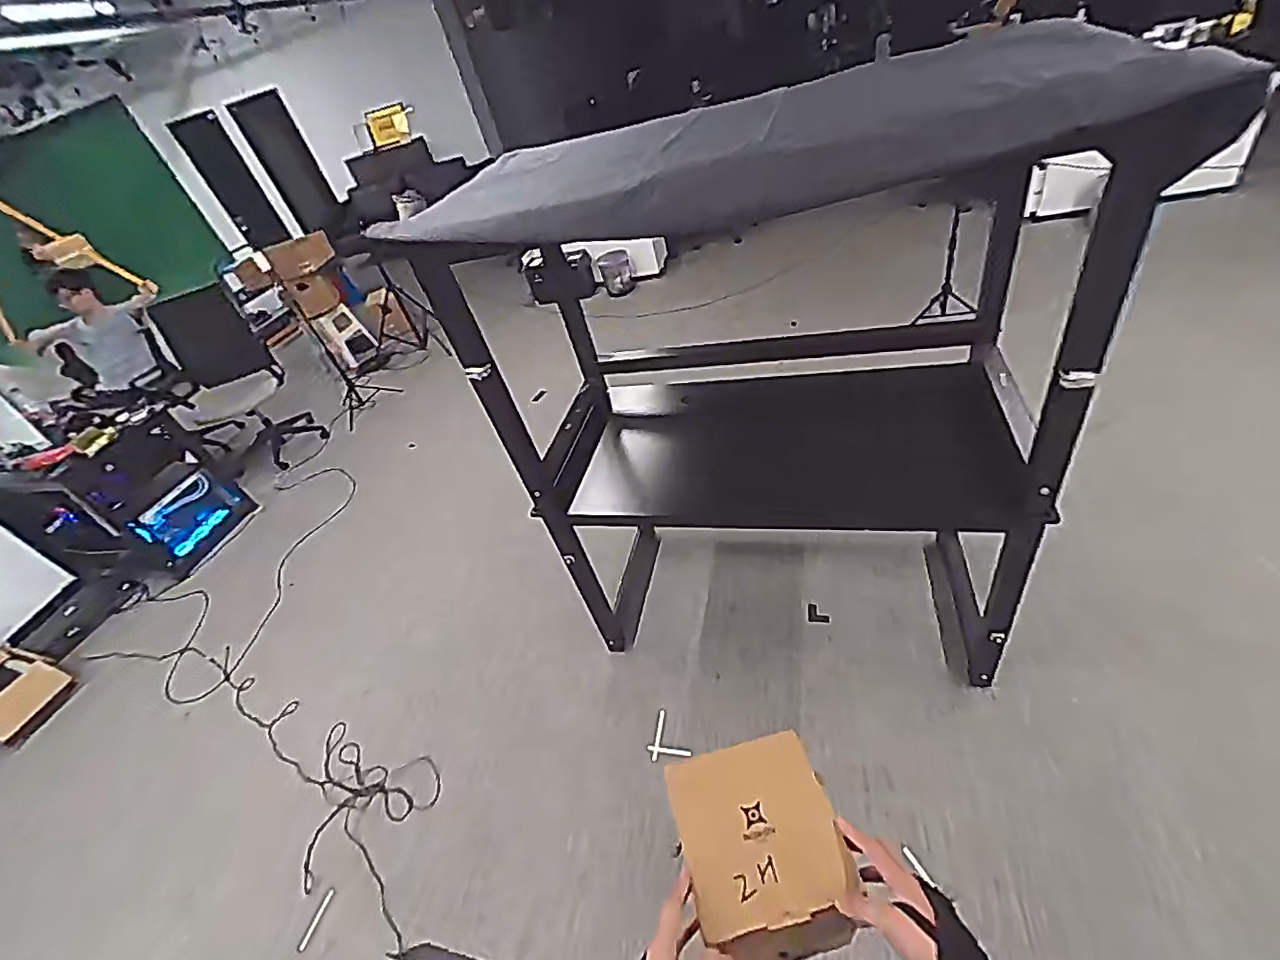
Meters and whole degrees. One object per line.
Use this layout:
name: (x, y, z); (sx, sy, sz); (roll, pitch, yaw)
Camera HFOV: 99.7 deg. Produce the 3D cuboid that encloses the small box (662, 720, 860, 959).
small box: (0.128, 0.421, 0.631); (0.168, 0.176, 0.179); (-13, 37, -5)
